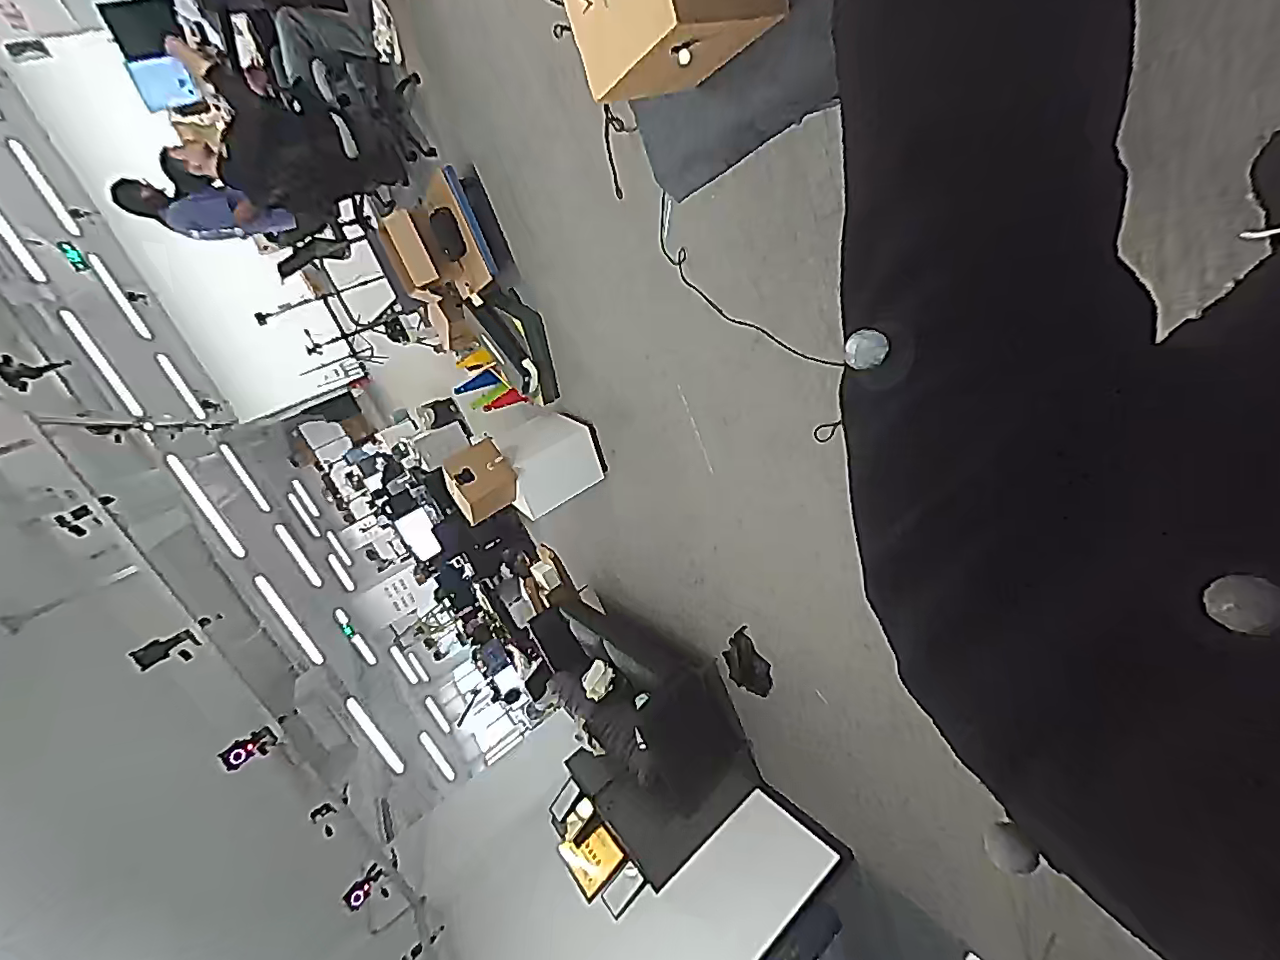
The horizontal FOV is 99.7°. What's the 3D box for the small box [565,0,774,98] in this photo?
[{"bbox_3d":[0.030,-0.565,0.597,0.179,0.176,0.168,13,129,57],"label":"small box"}]
